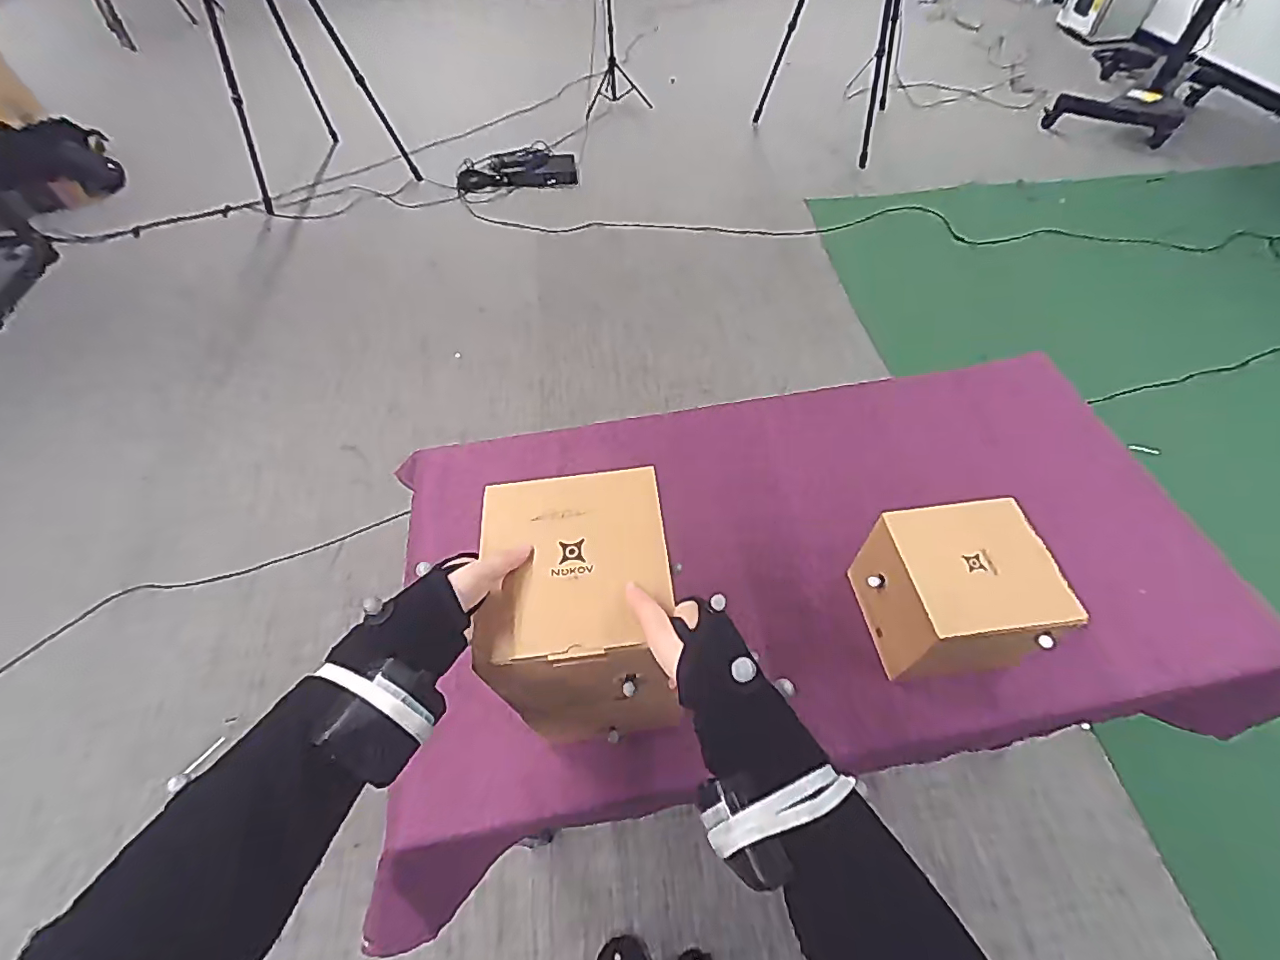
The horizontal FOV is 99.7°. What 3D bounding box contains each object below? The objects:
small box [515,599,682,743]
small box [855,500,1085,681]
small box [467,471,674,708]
[{"bbox_3d":[-0.050,0.214,0.668,0.179,0.176,0.168,-7,54,-3],"label":"small box"},{"bbox_3d":[0.397,0.147,0.697,0.179,0.176,0.168,-6,54,-3],"label":"small box"},{"bbox_3d":[-0.057,0.115,0.535,0.168,0.176,0.179,-6,53,-1],"label":"small box"}]
